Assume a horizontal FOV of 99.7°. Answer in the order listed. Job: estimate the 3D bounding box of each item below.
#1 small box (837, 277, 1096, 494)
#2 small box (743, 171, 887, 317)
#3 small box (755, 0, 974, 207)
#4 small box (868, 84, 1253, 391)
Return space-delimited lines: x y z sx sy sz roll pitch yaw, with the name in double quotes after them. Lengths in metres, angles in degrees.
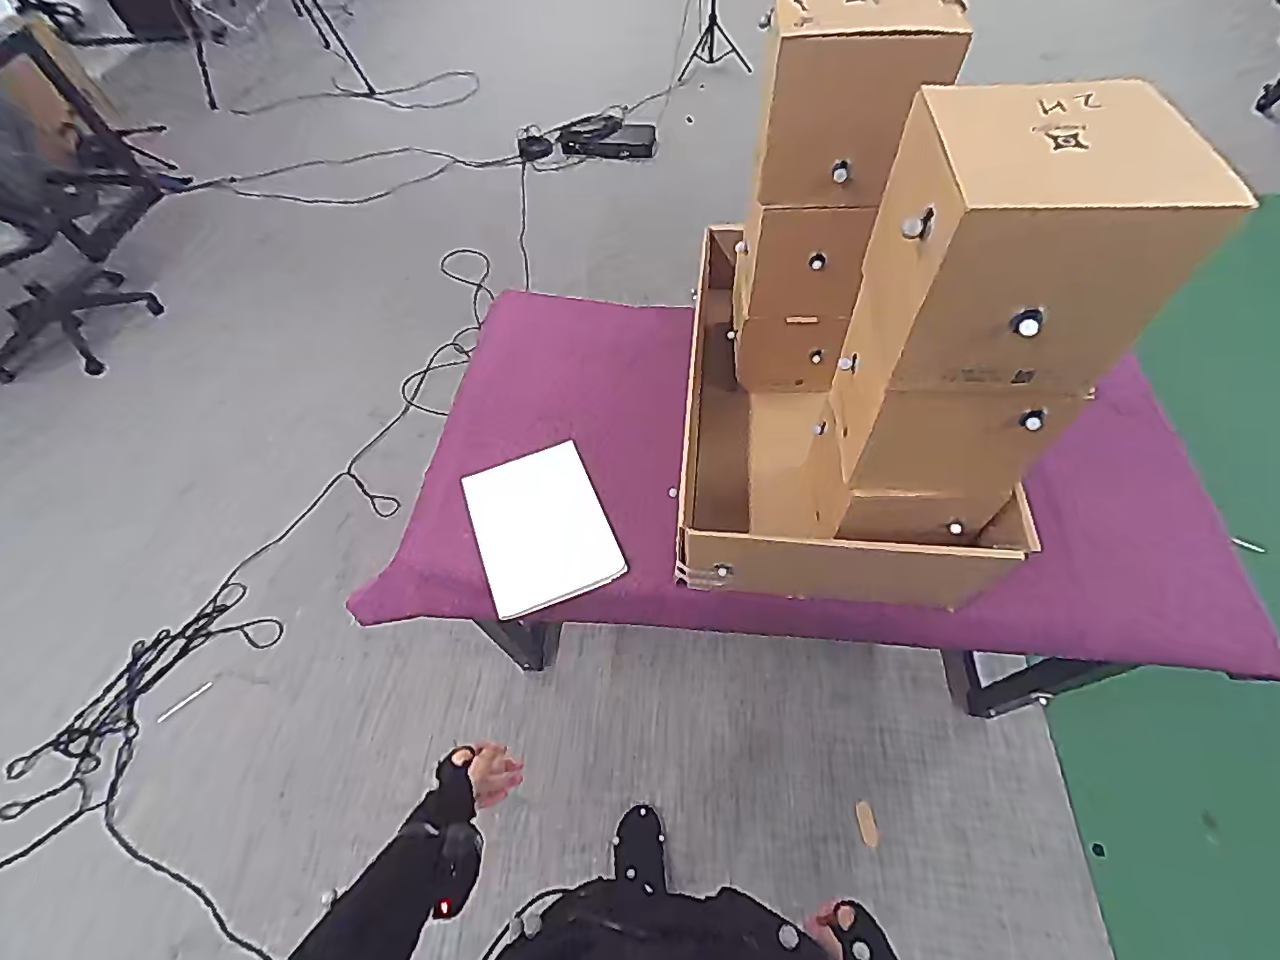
0.318 -0.098 0.579 0.179 0.176 0.168 4 56 6 "small box"
0.242 -0.342 0.746 0.179 0.176 0.168 1 58 5 "small box"
0.231 -0.432 0.609 0.179 0.176 0.168 4 58 5 "small box"
0.301 -0.191 0.443 0.168 0.176 0.179 3 56 6 "small box"
